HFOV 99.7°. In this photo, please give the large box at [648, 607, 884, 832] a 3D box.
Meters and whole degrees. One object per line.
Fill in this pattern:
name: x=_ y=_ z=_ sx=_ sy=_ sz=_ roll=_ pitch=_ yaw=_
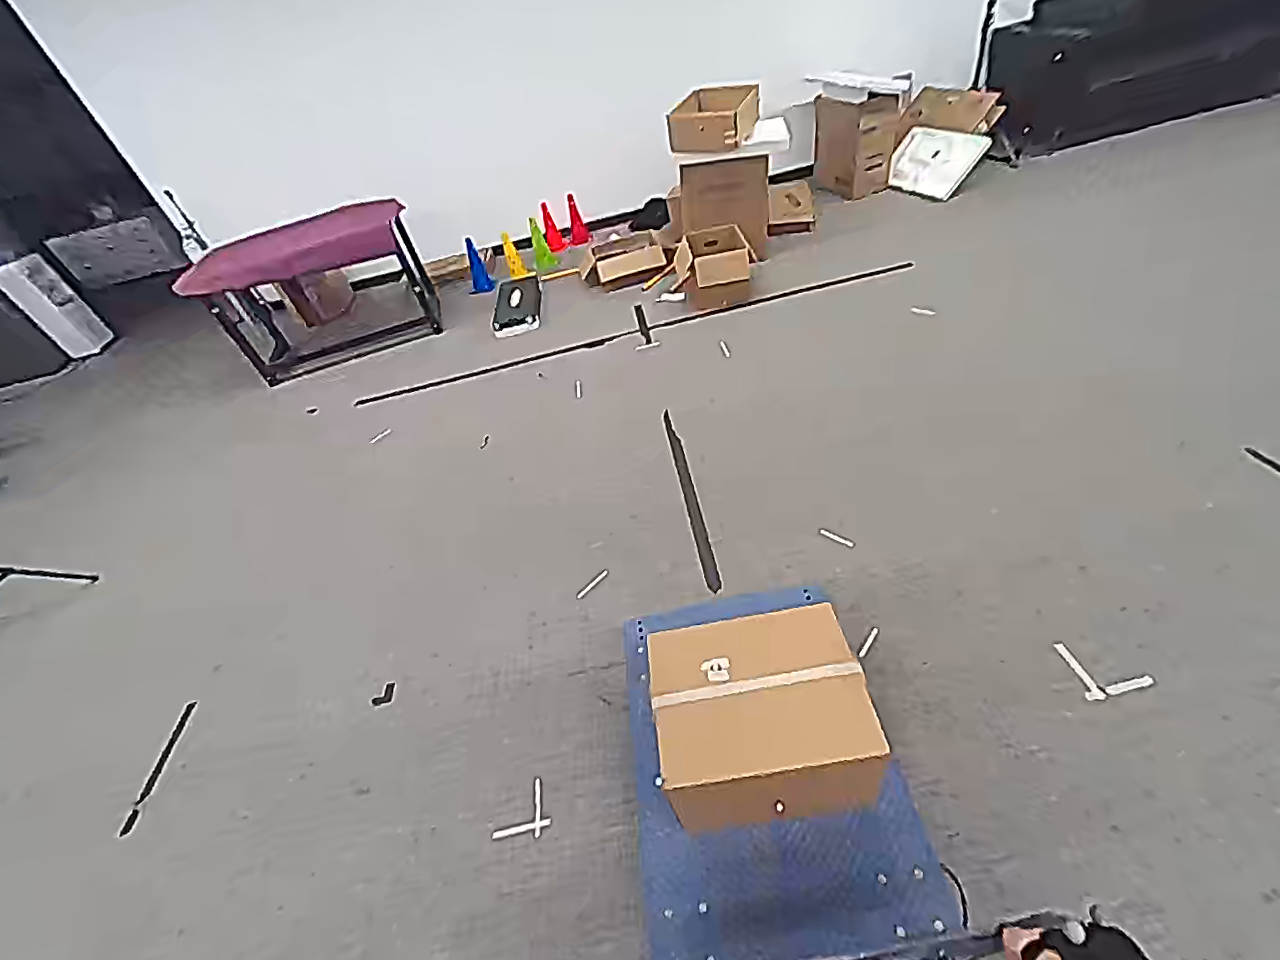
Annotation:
large box: x=0.257 y=0.524 z=1.176 sx=0.408 sy=0.320 sz=0.320 roll=-12 pitch=42 yaw=4
